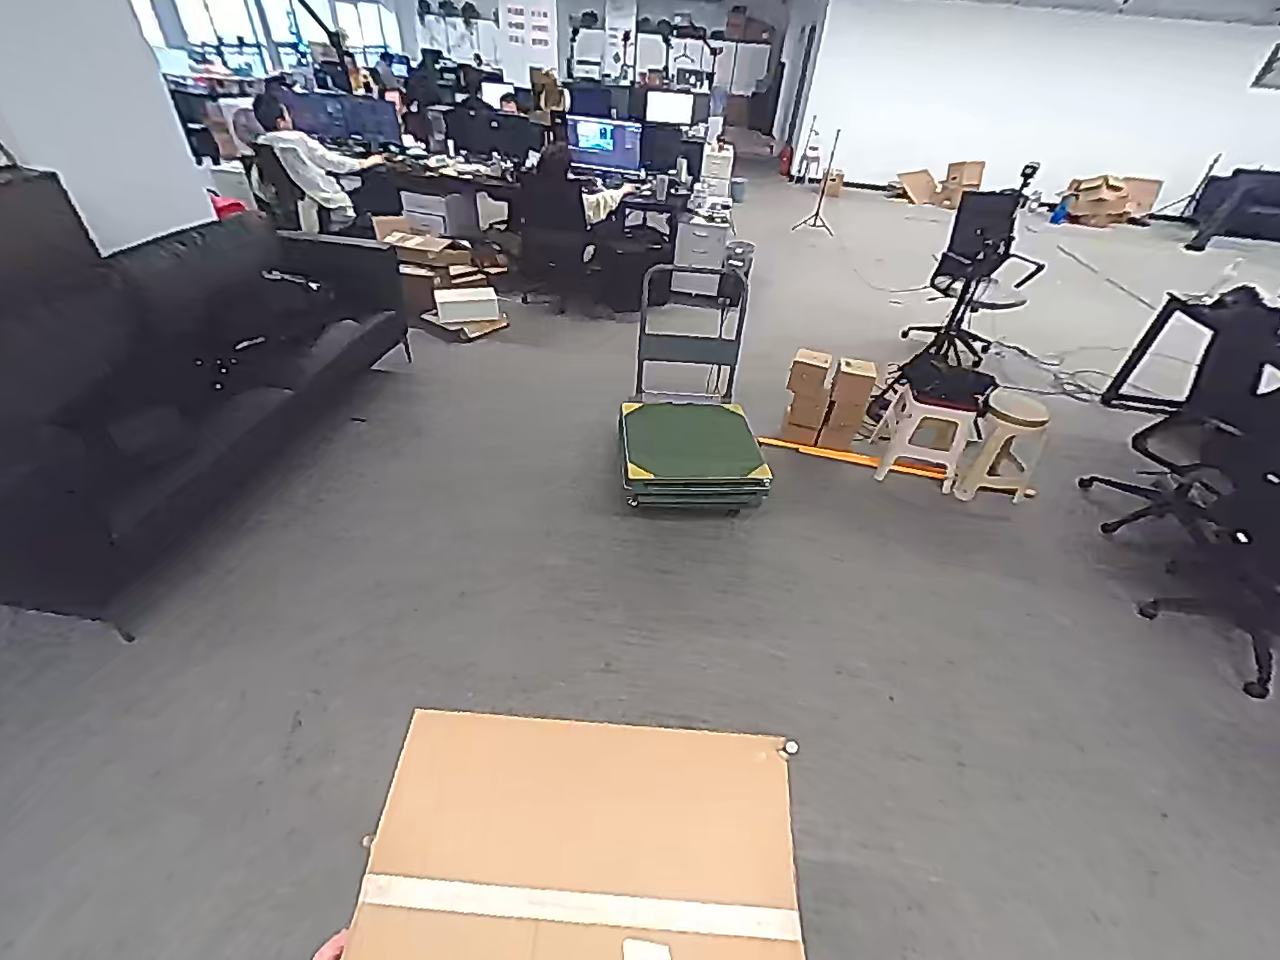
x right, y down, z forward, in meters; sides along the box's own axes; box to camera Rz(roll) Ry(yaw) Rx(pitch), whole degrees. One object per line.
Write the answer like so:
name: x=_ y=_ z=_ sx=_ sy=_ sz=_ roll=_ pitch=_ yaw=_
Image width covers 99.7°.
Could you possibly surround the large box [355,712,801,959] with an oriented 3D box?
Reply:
large box: x=-0.056 y=0.477 z=0.627 sx=0.408 sy=0.320 sz=0.320 roll=3 pitch=55 yaw=1
